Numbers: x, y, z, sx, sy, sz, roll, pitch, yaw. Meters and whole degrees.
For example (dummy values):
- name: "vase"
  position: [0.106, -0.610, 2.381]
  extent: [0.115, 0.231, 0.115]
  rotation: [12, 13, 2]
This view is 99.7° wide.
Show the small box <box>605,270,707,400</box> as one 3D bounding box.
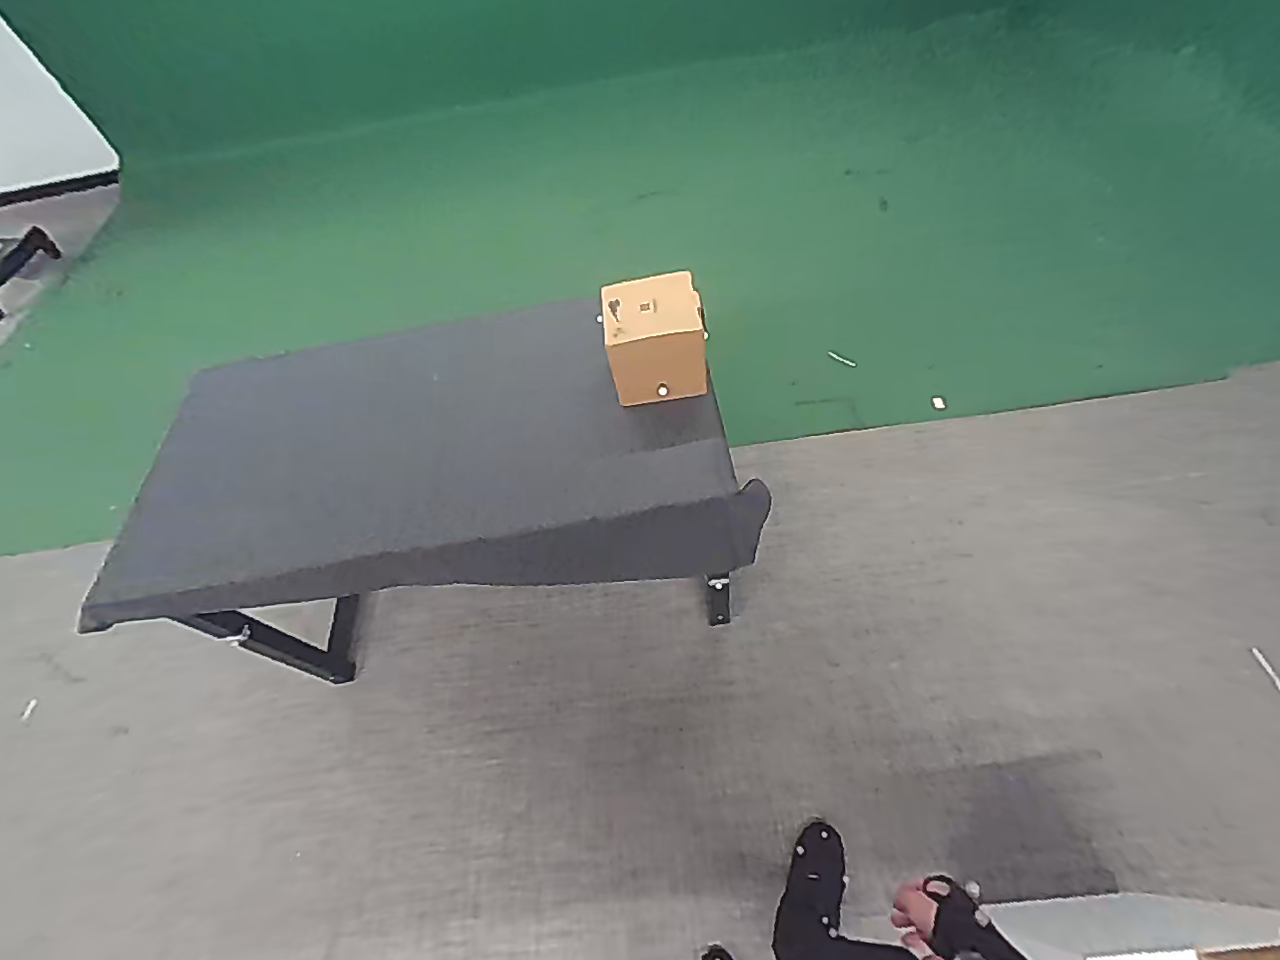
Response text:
- name: "small box"
  position: [0.032, -0.274, 1.042]
  extent: [0.179, 0.176, 0.168]
  rotation: [-7, 56, 3]

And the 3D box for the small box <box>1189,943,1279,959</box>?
- name: "small box"
  position: [0.734, 0.590, 0.536]
  extent: [0.168, 0.176, 0.179]
  rotation: [-8, 56, 0]
